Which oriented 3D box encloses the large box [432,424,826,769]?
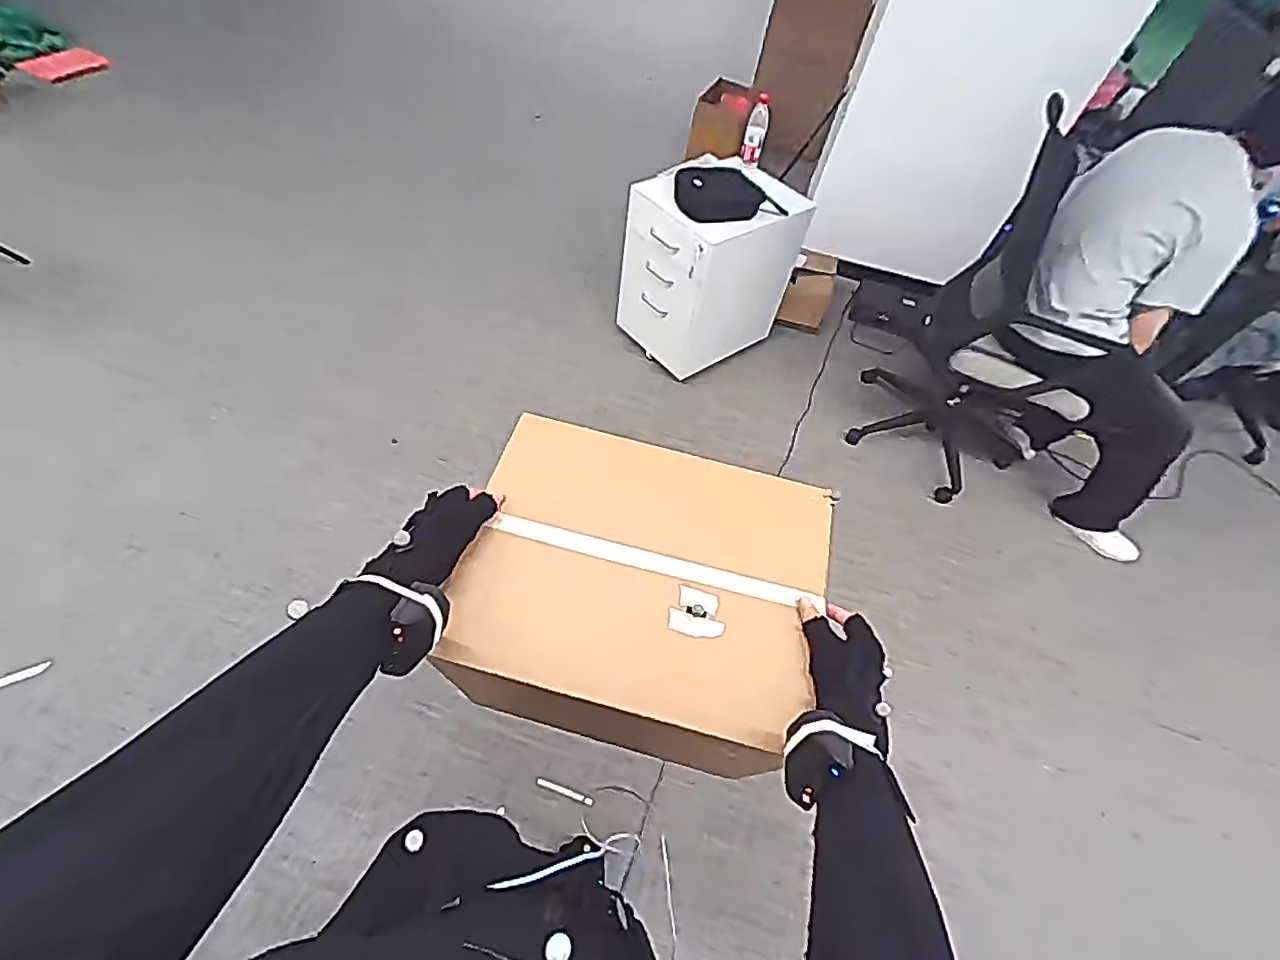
[{"bbox_3d":[-0.004,0.173,0.747,0.408,0.320,0.320,15,59,3],"label":"large box"}]
